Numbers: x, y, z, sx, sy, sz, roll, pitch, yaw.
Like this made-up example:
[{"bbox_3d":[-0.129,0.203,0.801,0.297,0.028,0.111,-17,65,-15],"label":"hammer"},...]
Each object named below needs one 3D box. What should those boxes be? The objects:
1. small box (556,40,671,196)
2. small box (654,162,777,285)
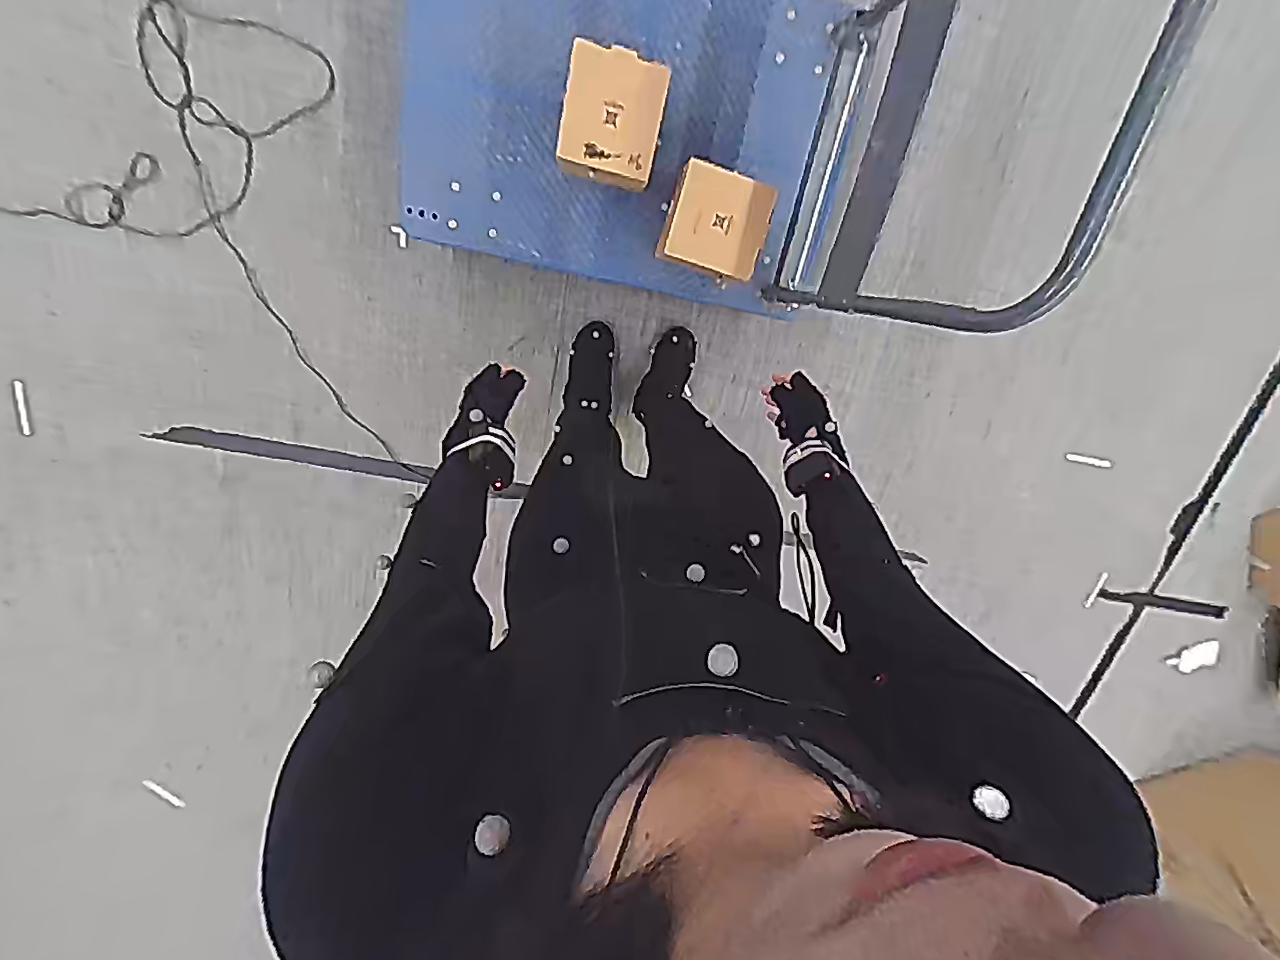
[{"bbox_3d":[-0.054,-0.646,0.990,0.168,0.176,0.179,12,108,-8],"label":"small box"},{"bbox_3d":[0.139,-0.495,1.067,0.179,0.176,0.168,15,107,-9],"label":"small box"}]
